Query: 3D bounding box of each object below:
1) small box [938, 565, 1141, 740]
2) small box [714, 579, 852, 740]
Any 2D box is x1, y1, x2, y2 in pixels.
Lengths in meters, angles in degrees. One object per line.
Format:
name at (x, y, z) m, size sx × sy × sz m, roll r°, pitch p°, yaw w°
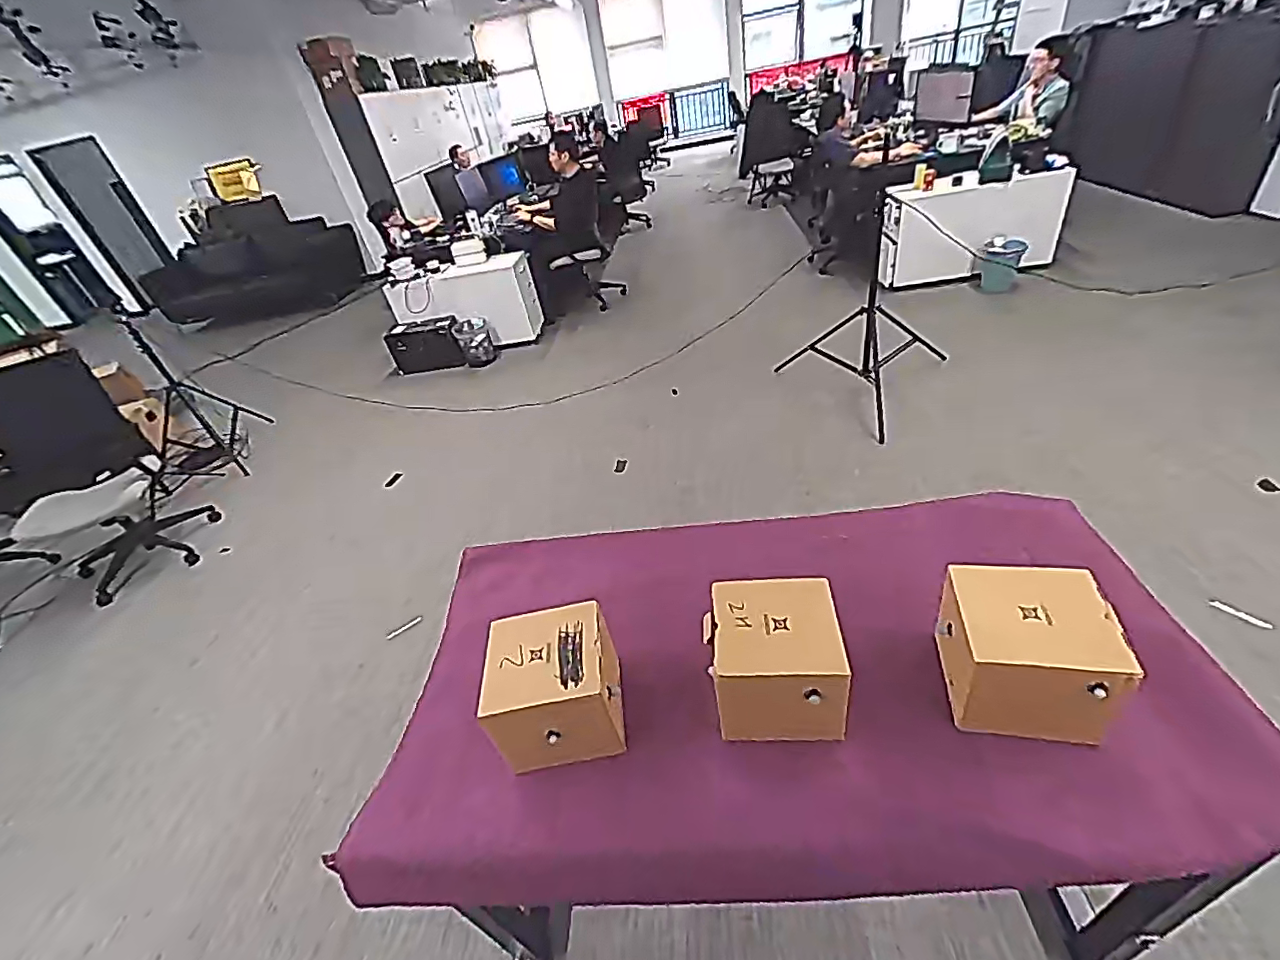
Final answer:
small box at (0.529, 0.237, 0.752) m, size 0.179 × 0.176 × 0.168 m, roll -1°, pitch 38°, yaw 16°
small box at (0.205, 0.269, 0.809) m, size 0.179 × 0.176 × 0.168 m, roll -5°, pitch 36°, yaw 10°
